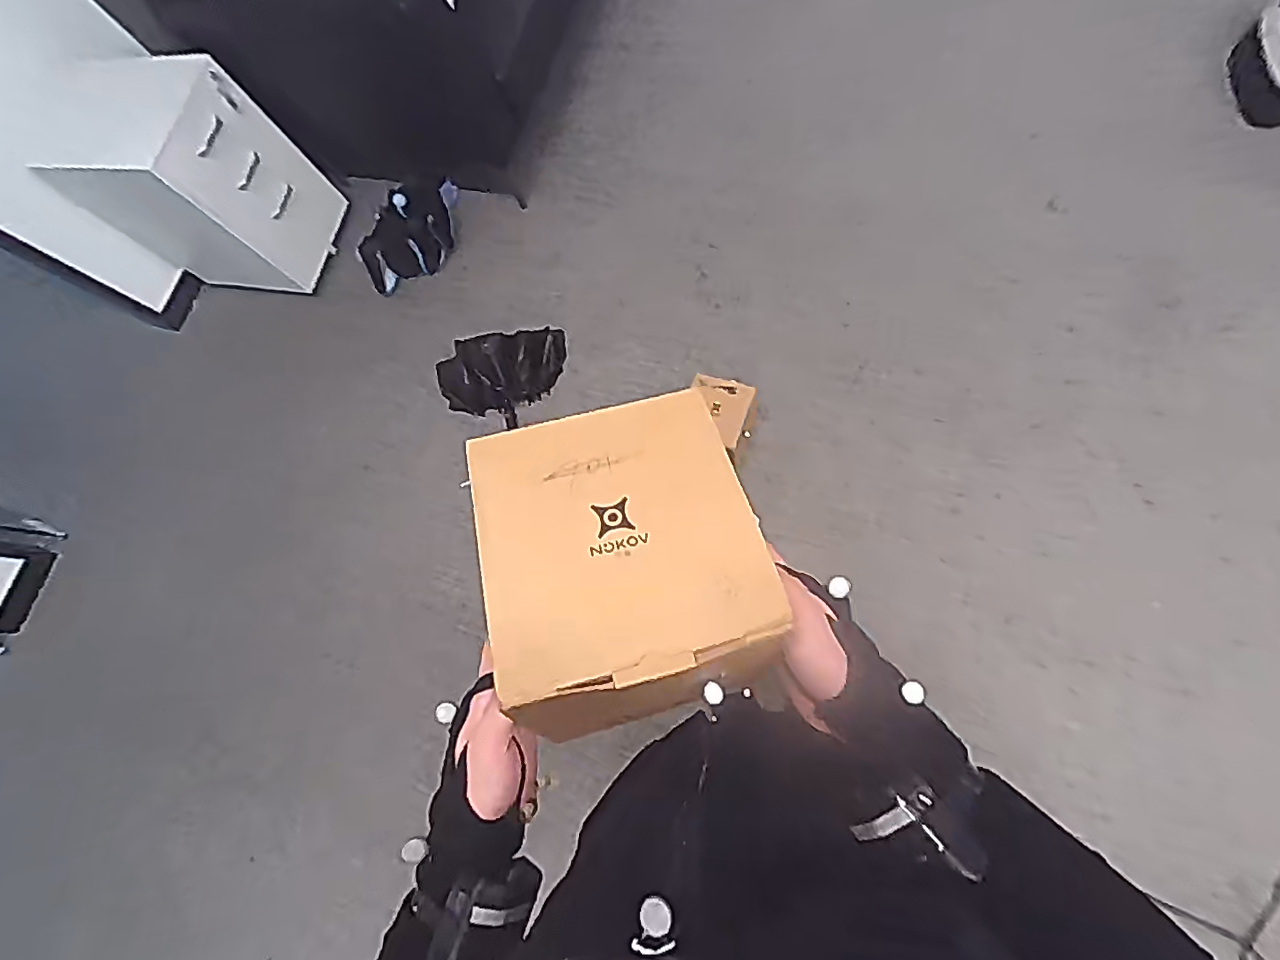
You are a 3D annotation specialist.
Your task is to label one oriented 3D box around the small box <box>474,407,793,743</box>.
[{"bbox_3d":[-0.010,0.079,0.398,0.168,0.176,0.179,-14,57,-7],"label":"small box"}]
